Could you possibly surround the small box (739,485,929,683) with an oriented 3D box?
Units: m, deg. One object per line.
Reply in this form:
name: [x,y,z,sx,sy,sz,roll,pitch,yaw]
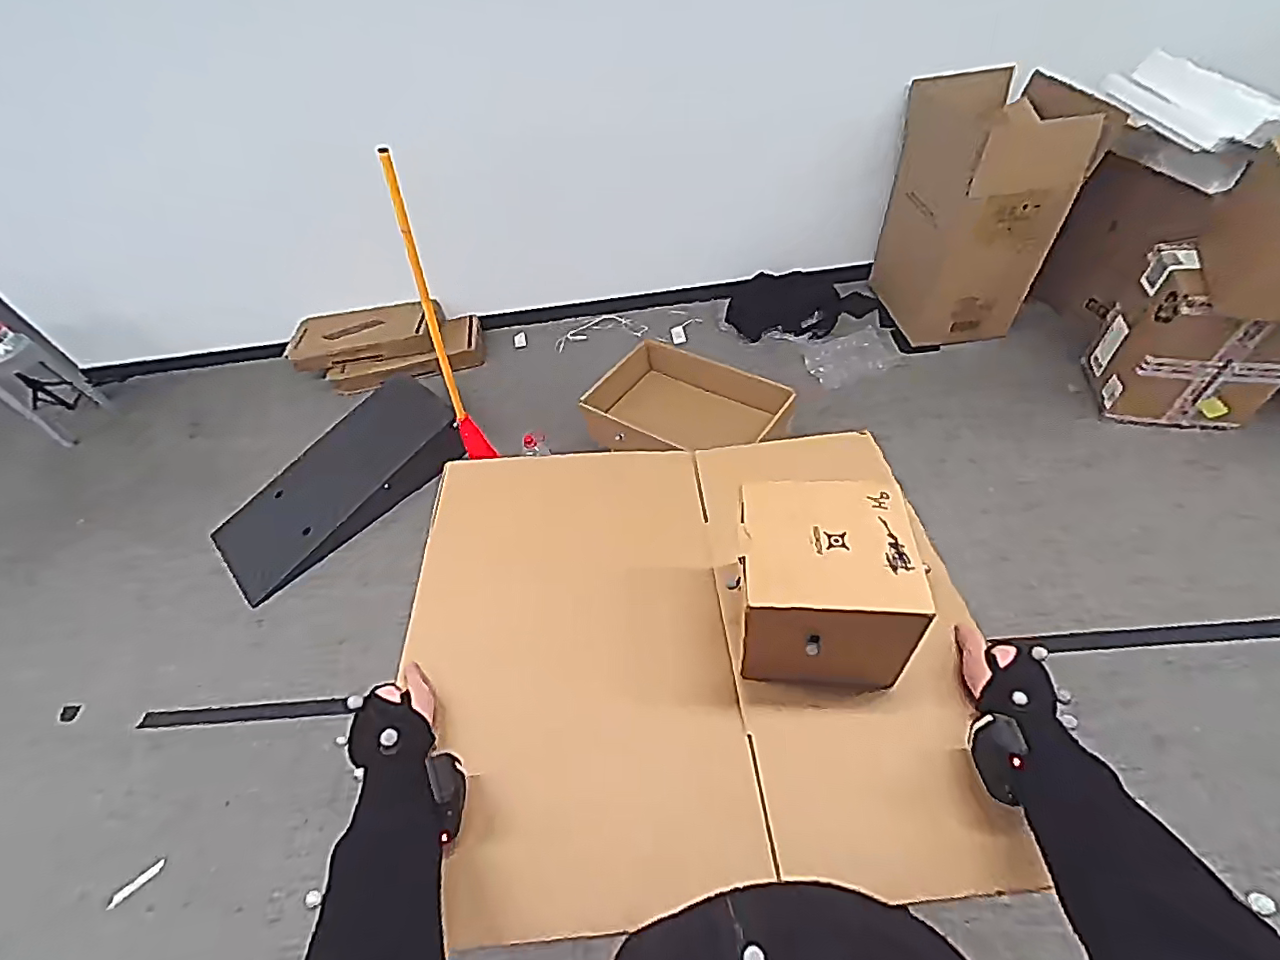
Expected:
small box: [0.206,0.122,0.630,0.179,0.176,0.168,0,47,9]
